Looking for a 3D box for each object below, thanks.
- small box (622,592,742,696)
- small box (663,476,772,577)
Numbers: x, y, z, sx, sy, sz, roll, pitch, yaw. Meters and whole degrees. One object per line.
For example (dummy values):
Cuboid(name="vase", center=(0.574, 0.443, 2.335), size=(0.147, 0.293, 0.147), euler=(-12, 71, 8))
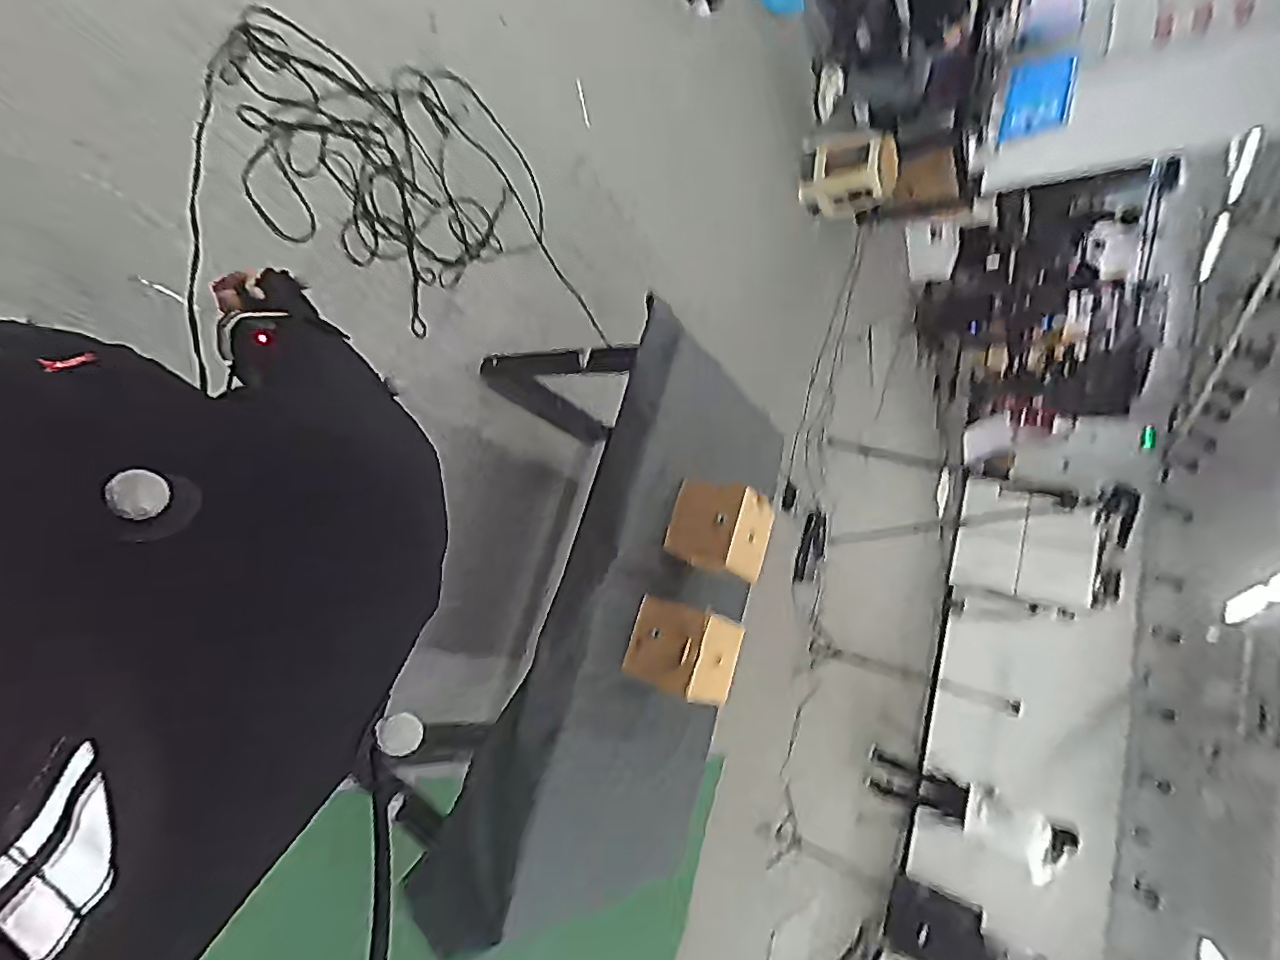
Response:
Cuboid(name="small box", center=(0.091, 0.350, 1.164), size=(0.179, 0.176, 0.168), euler=(33, 71, -49))
Cuboid(name="small box", center=(0.174, 0.101, 1.226), size=(0.168, 0.176, 0.179), euler=(33, 71, -48))
